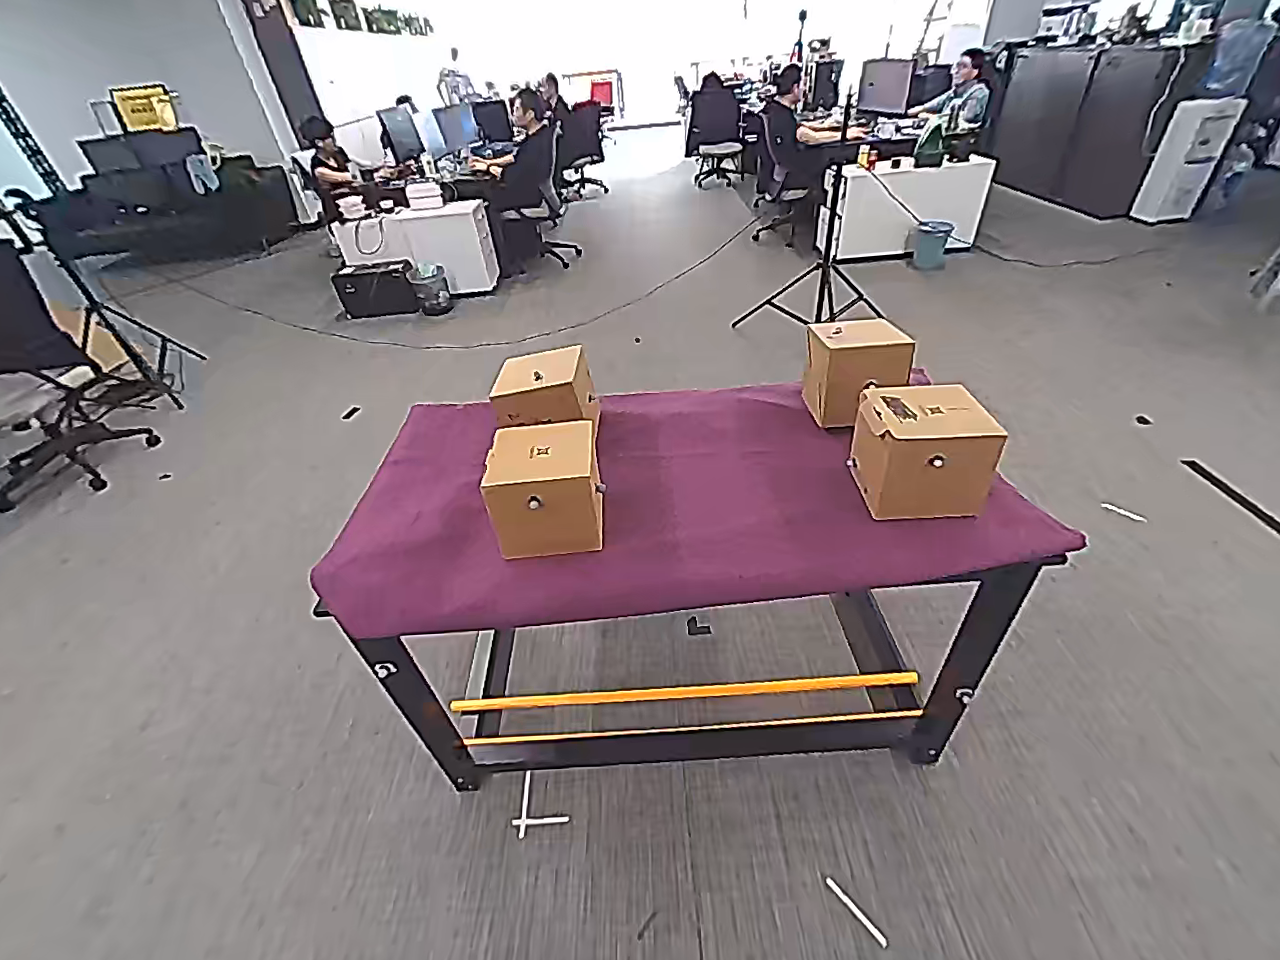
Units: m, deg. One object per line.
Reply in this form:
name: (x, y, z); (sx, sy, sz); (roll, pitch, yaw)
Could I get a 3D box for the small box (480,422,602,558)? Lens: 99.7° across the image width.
small box: (-0.161, 0.019, 0.949); (0.179, 0.176, 0.168); (-6, 38, 0)

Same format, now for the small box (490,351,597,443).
small box: (-0.194, -0.160, 1.156); (0.179, 0.168, 0.176); (-9, 37, 9)

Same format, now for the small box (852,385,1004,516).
small box: (0.482, -0.049, 0.943); (0.179, 0.176, 0.168); (-3, 37, 3)
